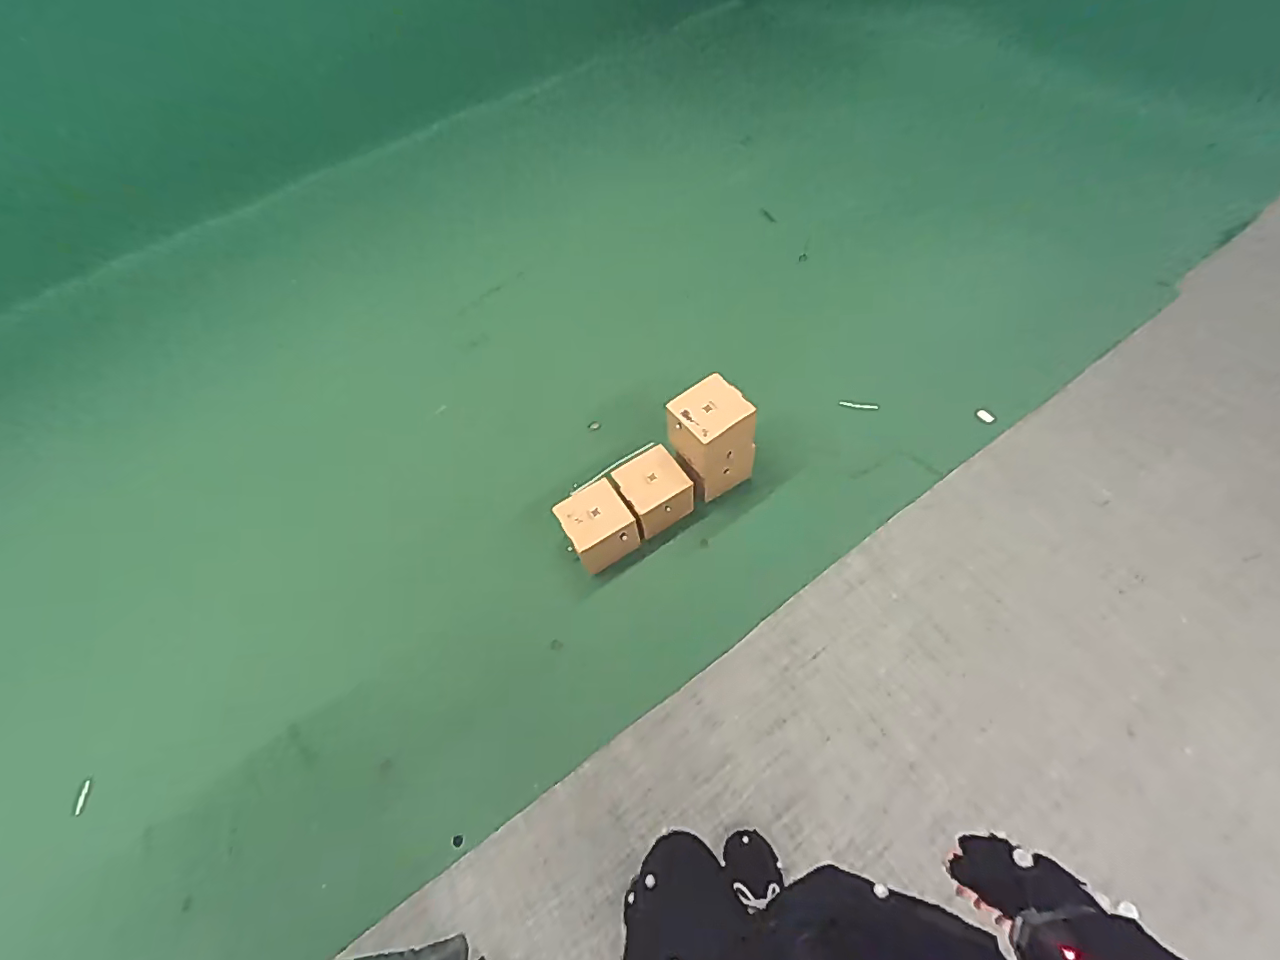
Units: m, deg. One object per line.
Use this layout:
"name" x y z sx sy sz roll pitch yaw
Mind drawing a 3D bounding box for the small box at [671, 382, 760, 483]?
"small box" 0.200 -0.125 1.471 0.179 0.176 0.168 -32 60 -14
